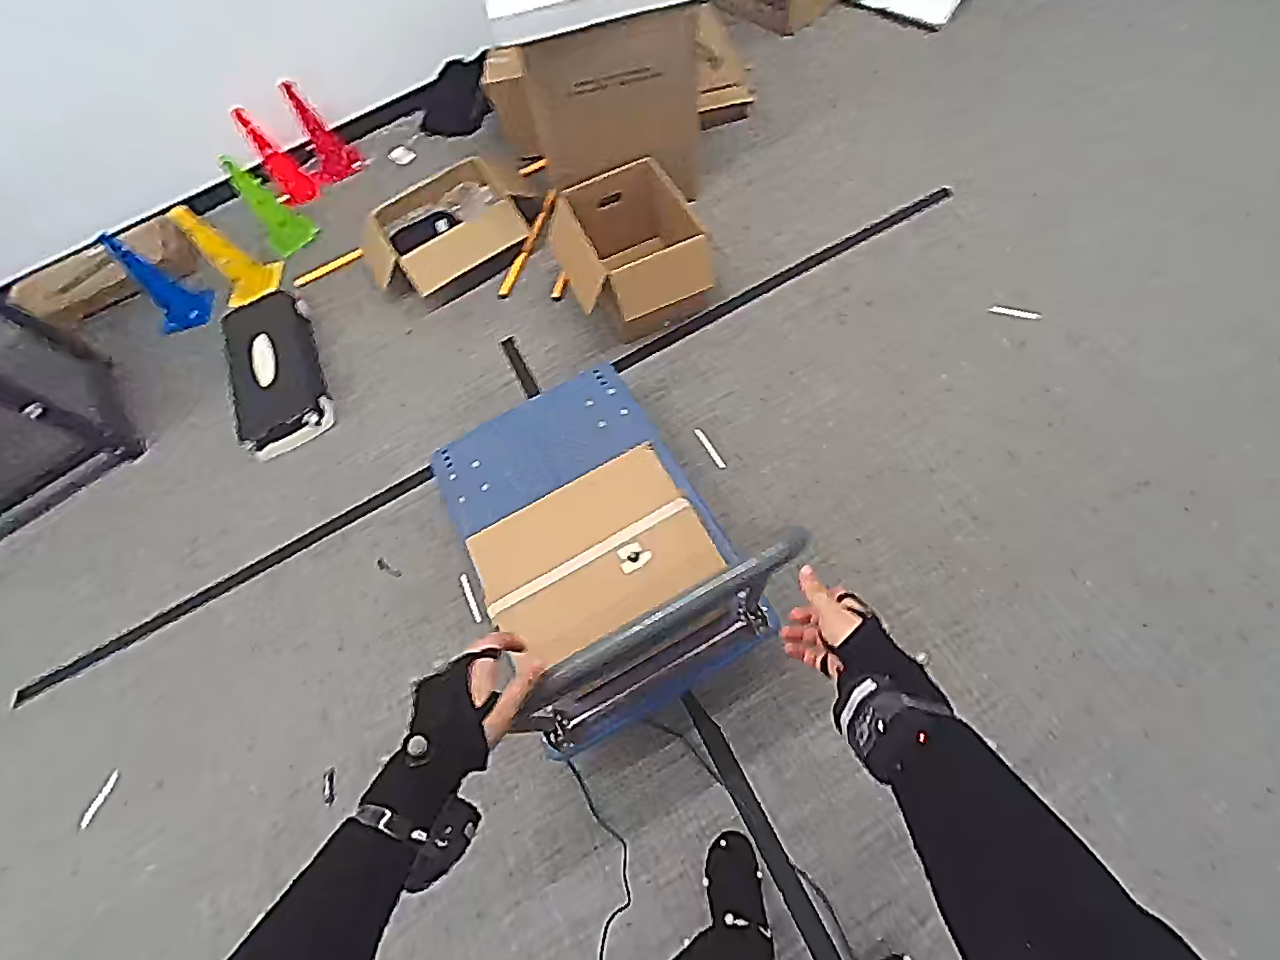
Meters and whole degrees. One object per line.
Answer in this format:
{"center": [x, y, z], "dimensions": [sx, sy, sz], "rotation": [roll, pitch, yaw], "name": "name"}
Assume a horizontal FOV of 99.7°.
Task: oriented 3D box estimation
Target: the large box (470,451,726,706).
{"center": [-0.069, 0.217, 1.129], "dimensions": [0.408, 0.320, 0.320], "rotation": [-29, 64, -7], "name": "large box"}
